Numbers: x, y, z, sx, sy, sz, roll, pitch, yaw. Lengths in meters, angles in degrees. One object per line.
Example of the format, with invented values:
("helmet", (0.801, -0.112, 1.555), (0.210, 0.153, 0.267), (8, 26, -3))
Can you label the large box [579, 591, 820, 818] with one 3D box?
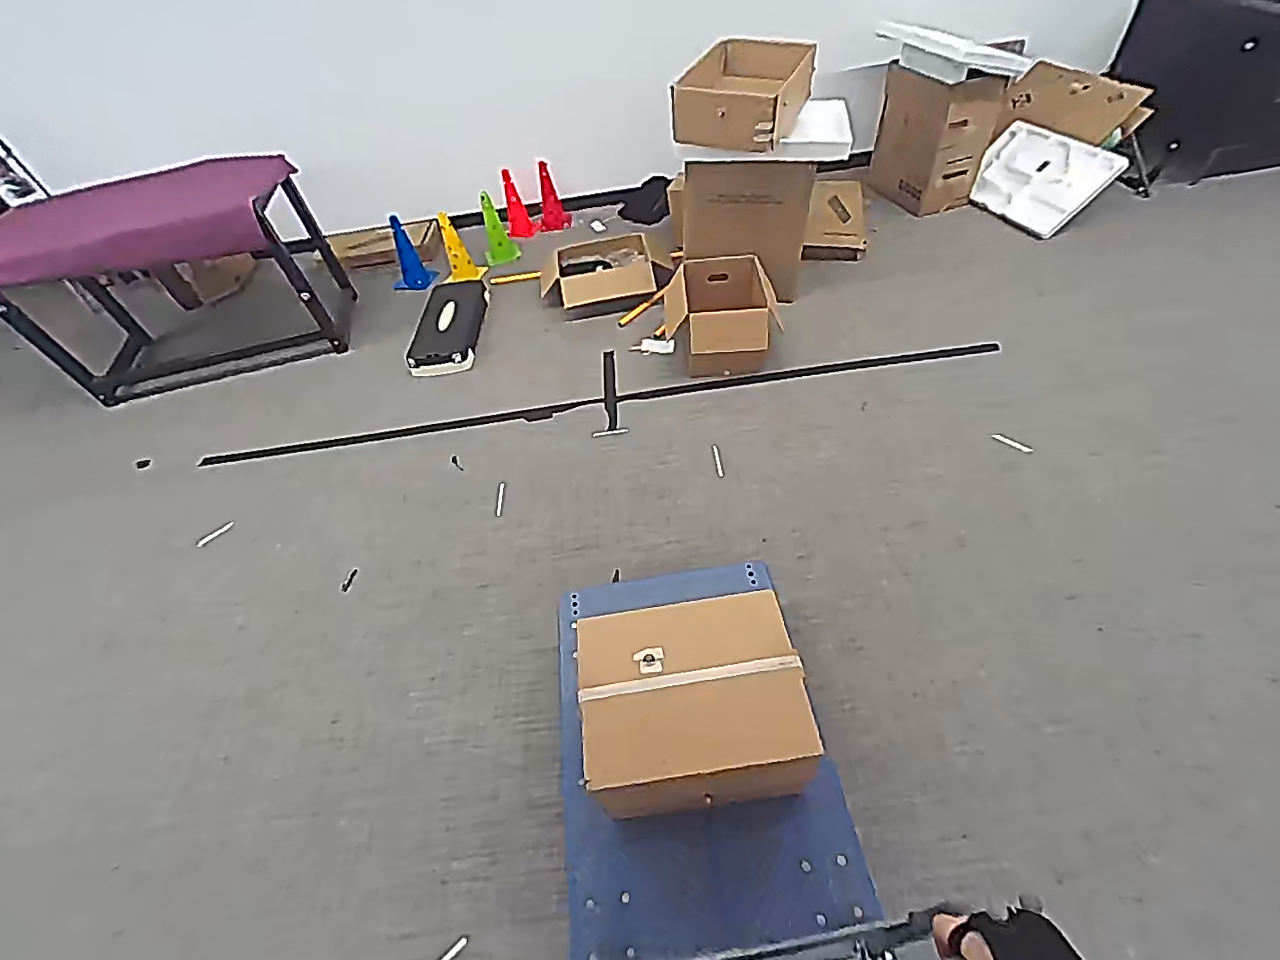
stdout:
("large box", (0.110, 0.471, 1.120), (0.408, 0.320, 0.320), (-11, 48, 0))
